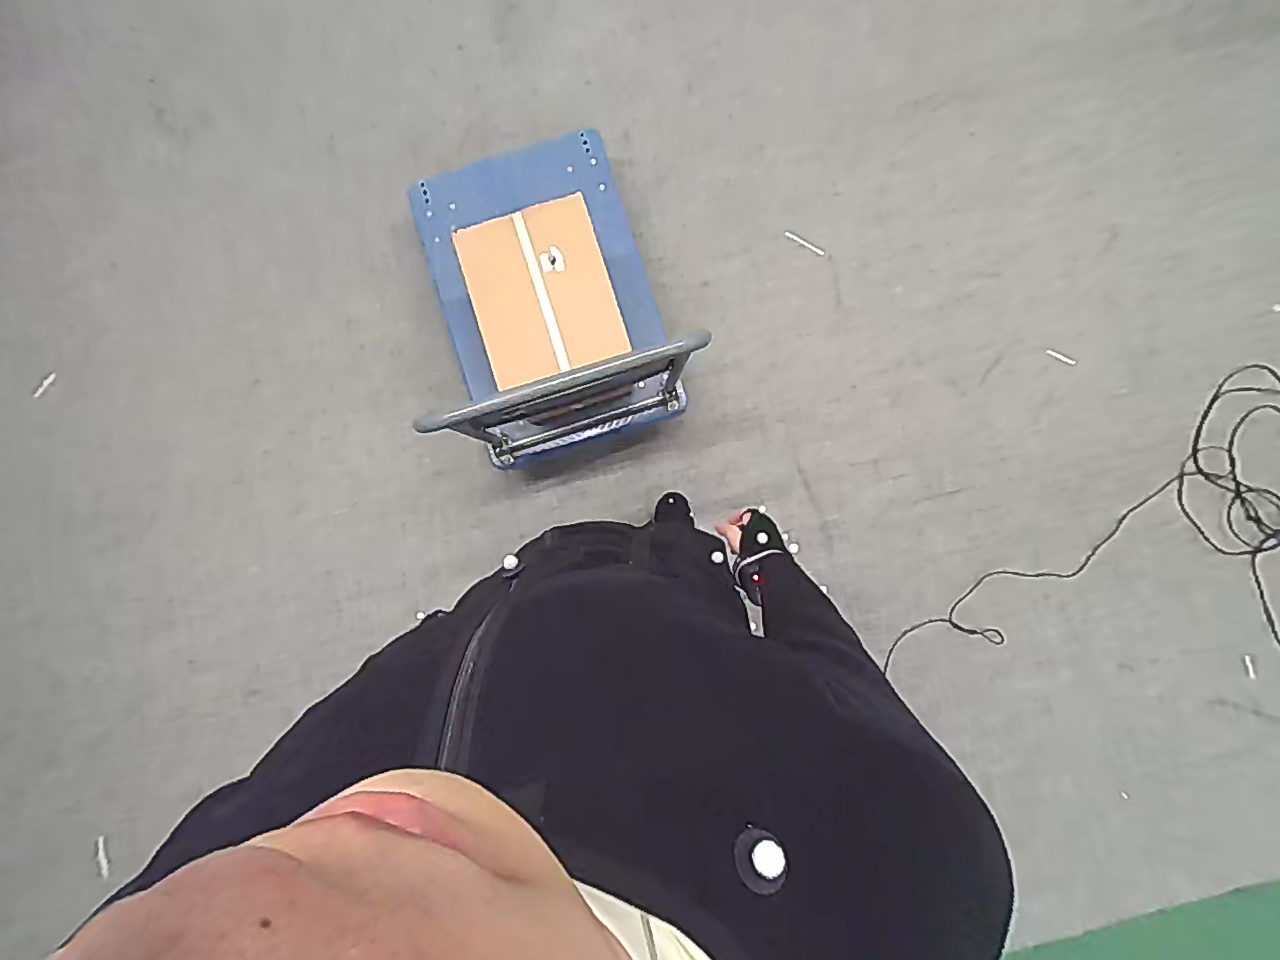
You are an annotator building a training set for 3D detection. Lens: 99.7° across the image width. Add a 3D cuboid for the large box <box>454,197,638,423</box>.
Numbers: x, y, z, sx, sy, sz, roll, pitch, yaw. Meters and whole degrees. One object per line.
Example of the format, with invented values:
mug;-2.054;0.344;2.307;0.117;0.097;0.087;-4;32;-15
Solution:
large box;-0.213;-0.399;1.358;0.320;0.320;0.408;-18;85;-2
